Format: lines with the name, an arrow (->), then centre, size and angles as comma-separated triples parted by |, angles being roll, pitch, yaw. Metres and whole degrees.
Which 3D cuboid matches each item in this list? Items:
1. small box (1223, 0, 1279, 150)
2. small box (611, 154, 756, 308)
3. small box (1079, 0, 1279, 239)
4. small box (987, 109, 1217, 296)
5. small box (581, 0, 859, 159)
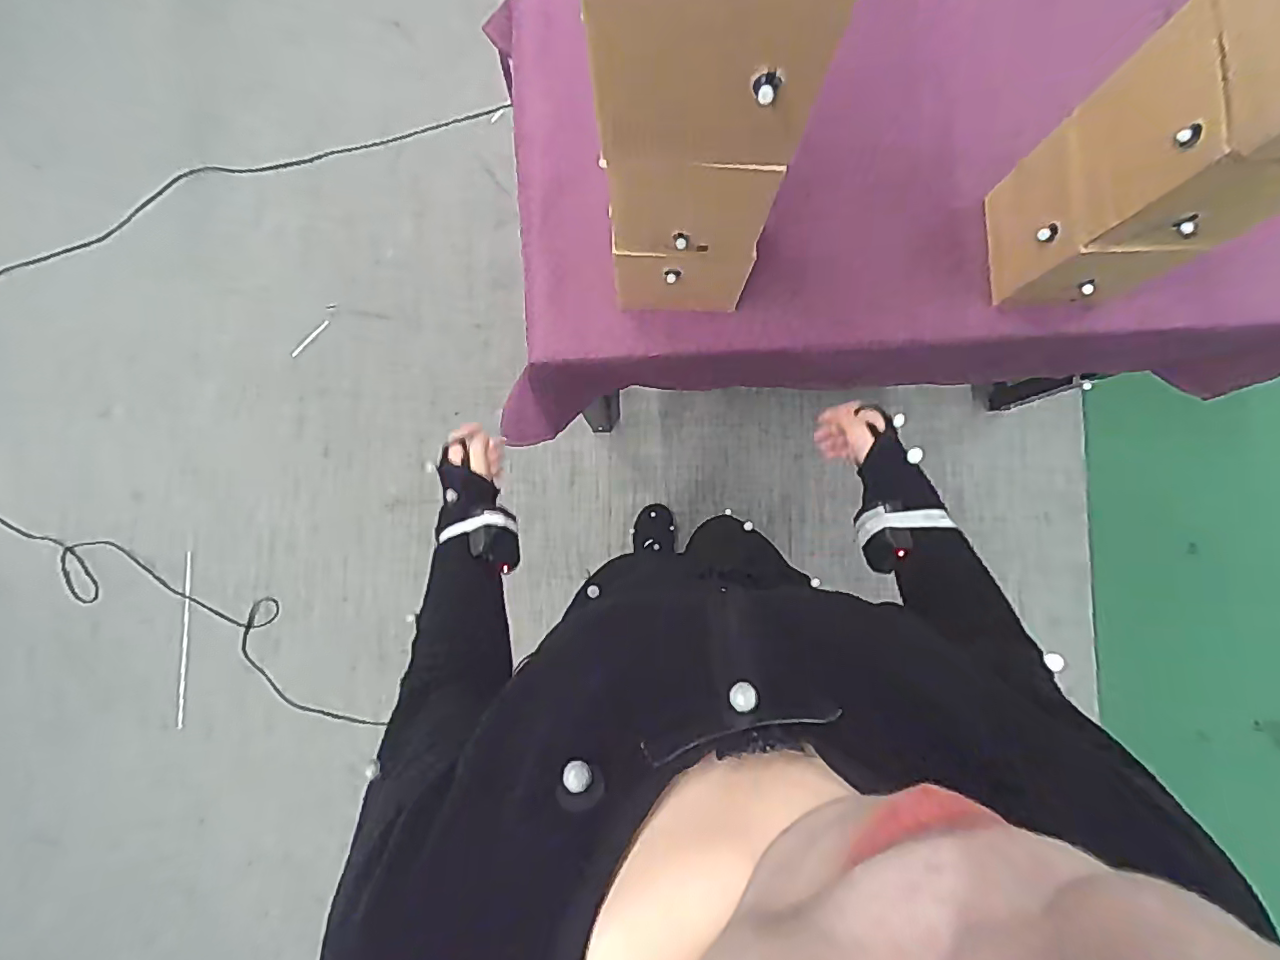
small box -> 0.603, -0.387, 0.402 | 0.168, 0.176, 0.179 | -5, 86, 1
small box -> 0.055, -0.345, 0.735 | 0.179, 0.176, 0.168 | 1, 85, 0
small box -> 0.605, -0.379, 0.566 | 0.168, 0.176, 0.179 | -1, 87, 1
small box -> 0.602, -0.359, 0.728 | 0.168, 0.176, 0.179 | -2, 85, 0
small box -> 0.053, -0.373, 0.409 | 0.179, 0.176, 0.168 | 2, 85, 1
